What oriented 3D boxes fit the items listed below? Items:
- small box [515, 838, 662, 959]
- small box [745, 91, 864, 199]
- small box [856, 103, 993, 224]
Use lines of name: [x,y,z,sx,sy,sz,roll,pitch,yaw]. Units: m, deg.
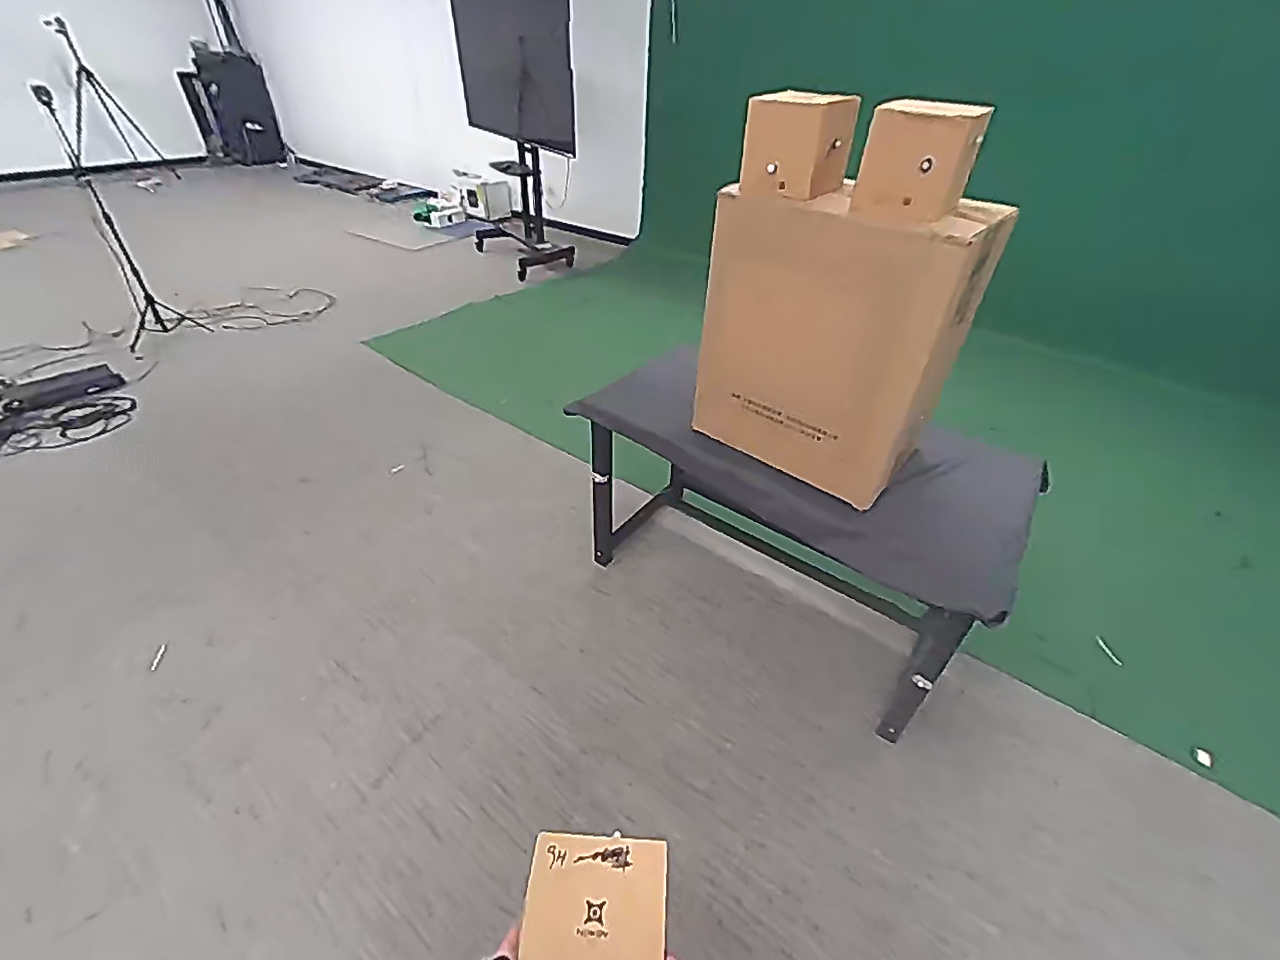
small box: [-0.056,0.576,0.674,0.168,0.176,0.179,0,38,0]
small box: [0.338,-0.710,1.141,0.168,0.176,0.179,30,48,31]
small box: [0.538,-0.608,1.039,0.168,0.176,0.179,28,46,24]
